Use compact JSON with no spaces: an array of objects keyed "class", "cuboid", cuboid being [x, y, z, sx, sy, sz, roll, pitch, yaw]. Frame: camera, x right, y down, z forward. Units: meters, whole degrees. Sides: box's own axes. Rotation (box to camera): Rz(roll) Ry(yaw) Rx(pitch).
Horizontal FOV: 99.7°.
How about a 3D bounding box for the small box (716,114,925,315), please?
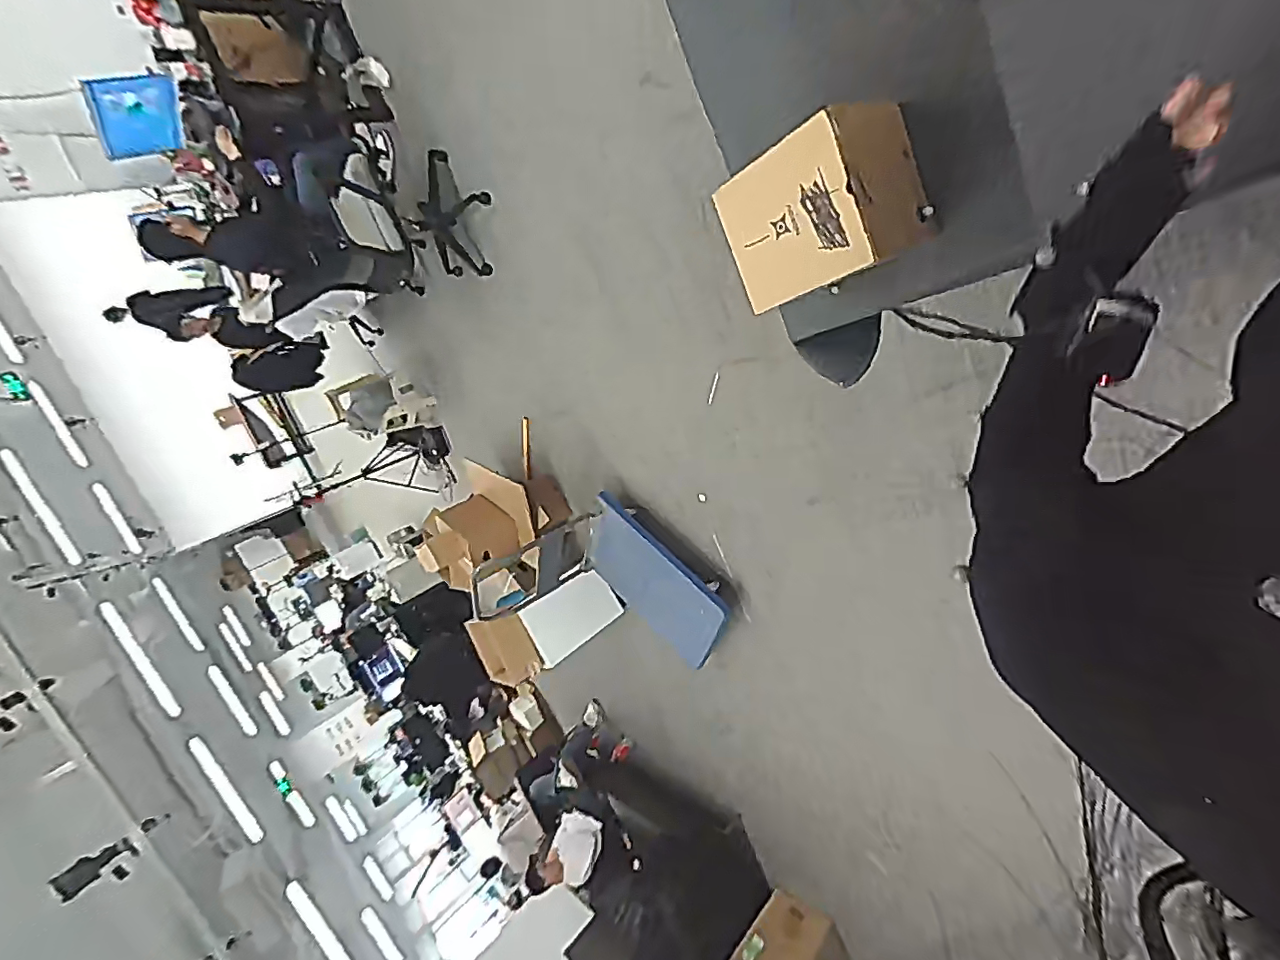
[{"class":"small box","cuboid":[0.235,-0.334,0.687,0.179,0.176,0.168,-9,107,54]}]
